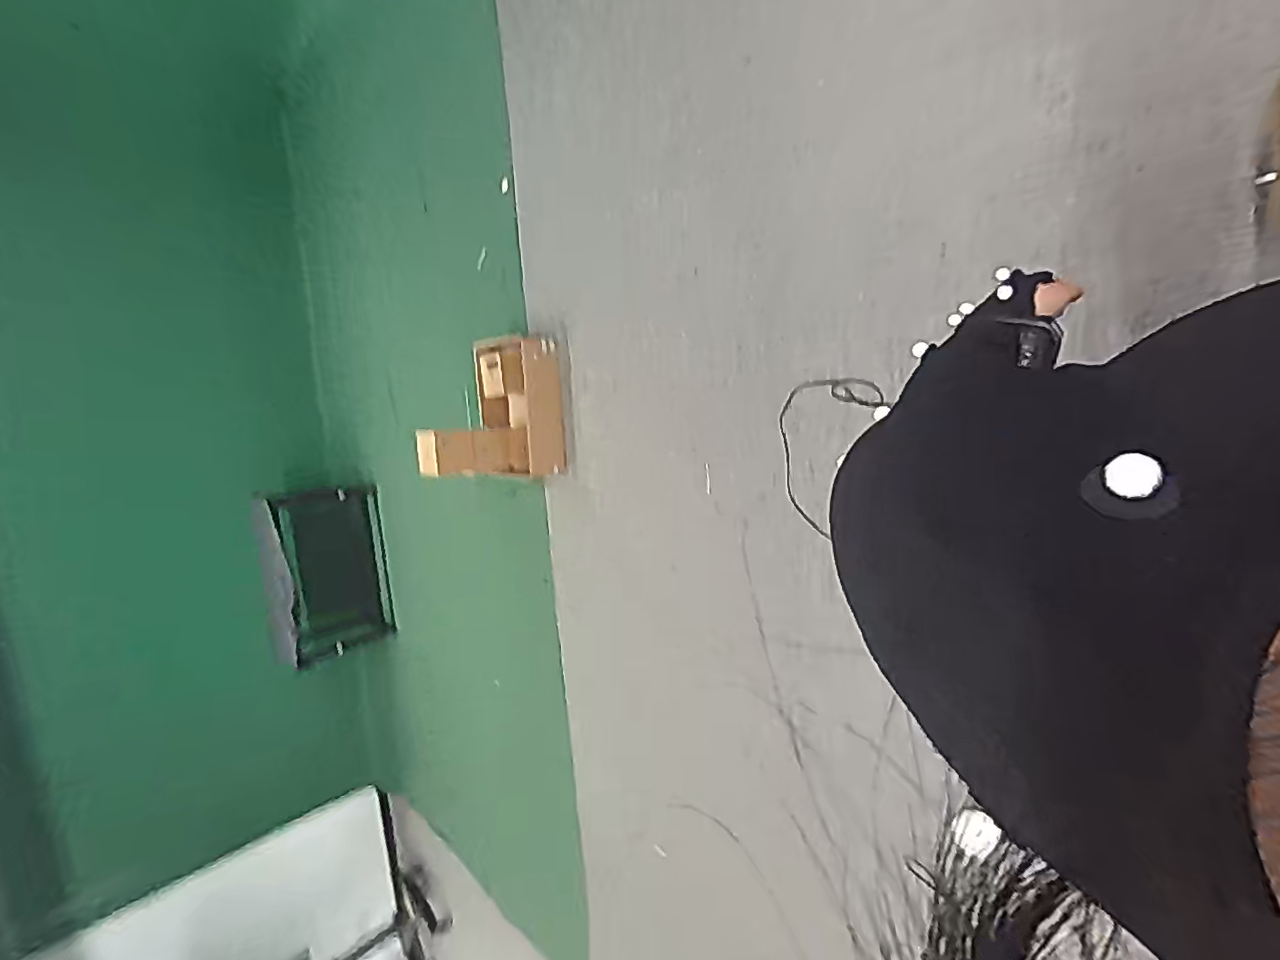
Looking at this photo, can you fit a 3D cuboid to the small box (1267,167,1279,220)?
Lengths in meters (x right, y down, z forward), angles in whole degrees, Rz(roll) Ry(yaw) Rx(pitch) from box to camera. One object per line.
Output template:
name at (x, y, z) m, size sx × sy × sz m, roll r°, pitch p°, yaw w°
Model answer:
small box at (1.116, -0.523, 0.843) m, size 0.168 × 0.176 × 0.179 m, roll 0°, pitch 99°, yaw 44°

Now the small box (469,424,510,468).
small box at (-0.694, -0.155, 2.401) m, size 0.168 × 0.176 × 0.179 m, roll 6°, pitch 101°, yaw 43°

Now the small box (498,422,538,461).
small box at (-0.588, -0.184, 2.524) m, size 0.179 × 0.176 × 0.168 m, roll 5°, pitch 101°, yaw 43°

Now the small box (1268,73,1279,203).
small box at (0.995, -0.499, 0.736) m, size 0.168 × 0.176 × 0.179 m, roll -4°, pitch 94°, yaw 44°

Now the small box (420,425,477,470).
small box at (-0.807, -0.142, 2.281) m, size 0.168 × 0.176 × 0.179 m, roll 6°, pitch 102°, yaw 44°
